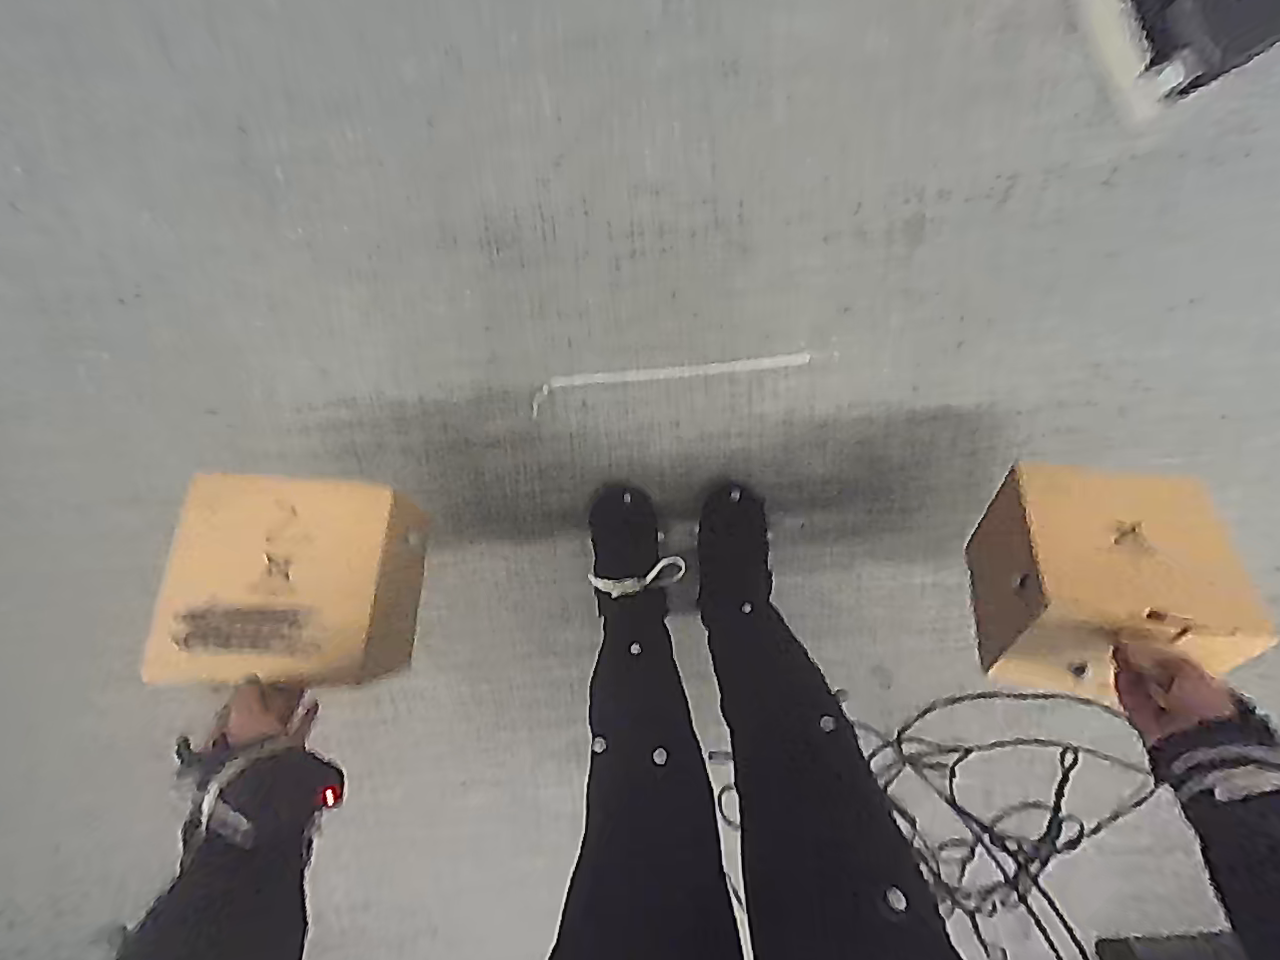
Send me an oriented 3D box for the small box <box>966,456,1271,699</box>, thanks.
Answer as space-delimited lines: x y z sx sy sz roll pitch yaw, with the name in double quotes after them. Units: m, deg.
0.464 0.102 0.567 0.168 0.179 0.176 7 143 15 "small box"
